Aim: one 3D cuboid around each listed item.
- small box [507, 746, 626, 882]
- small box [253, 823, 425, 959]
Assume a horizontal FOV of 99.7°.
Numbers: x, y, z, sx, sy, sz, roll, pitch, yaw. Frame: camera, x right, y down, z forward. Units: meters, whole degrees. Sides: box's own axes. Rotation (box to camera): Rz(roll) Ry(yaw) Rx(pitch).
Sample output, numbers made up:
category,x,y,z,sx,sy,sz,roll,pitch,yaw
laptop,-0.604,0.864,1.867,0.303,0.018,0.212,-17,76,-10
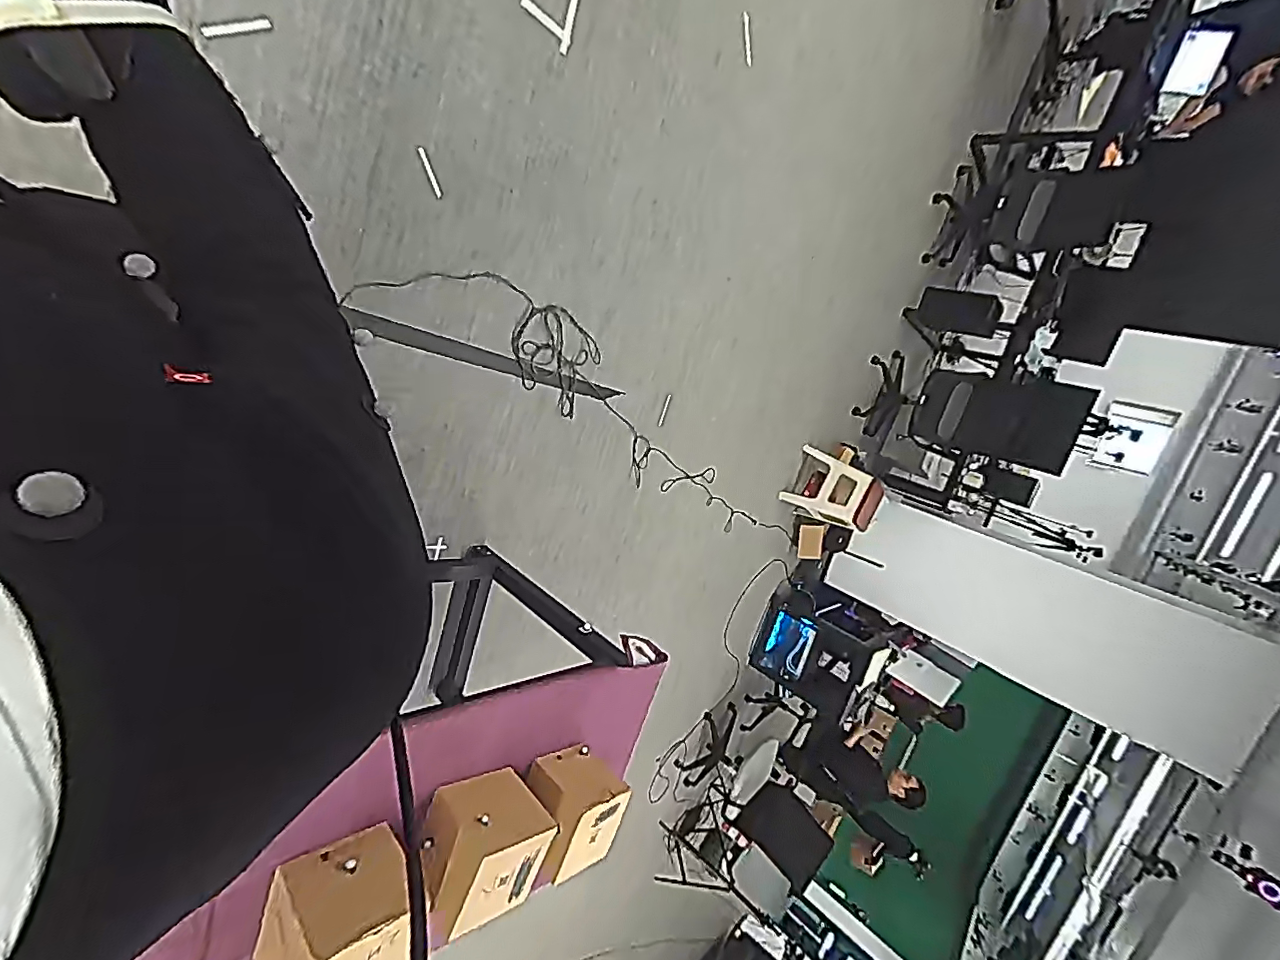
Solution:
category,x,y,z,sx,sy,sz,roll,pitch,yaw
small box,-0.166,0.719,1.195,0.168,0.176,0.179,15,98,-52
small box,-0.461,0.677,0.821,0.168,0.176,0.179,7,105,-52
